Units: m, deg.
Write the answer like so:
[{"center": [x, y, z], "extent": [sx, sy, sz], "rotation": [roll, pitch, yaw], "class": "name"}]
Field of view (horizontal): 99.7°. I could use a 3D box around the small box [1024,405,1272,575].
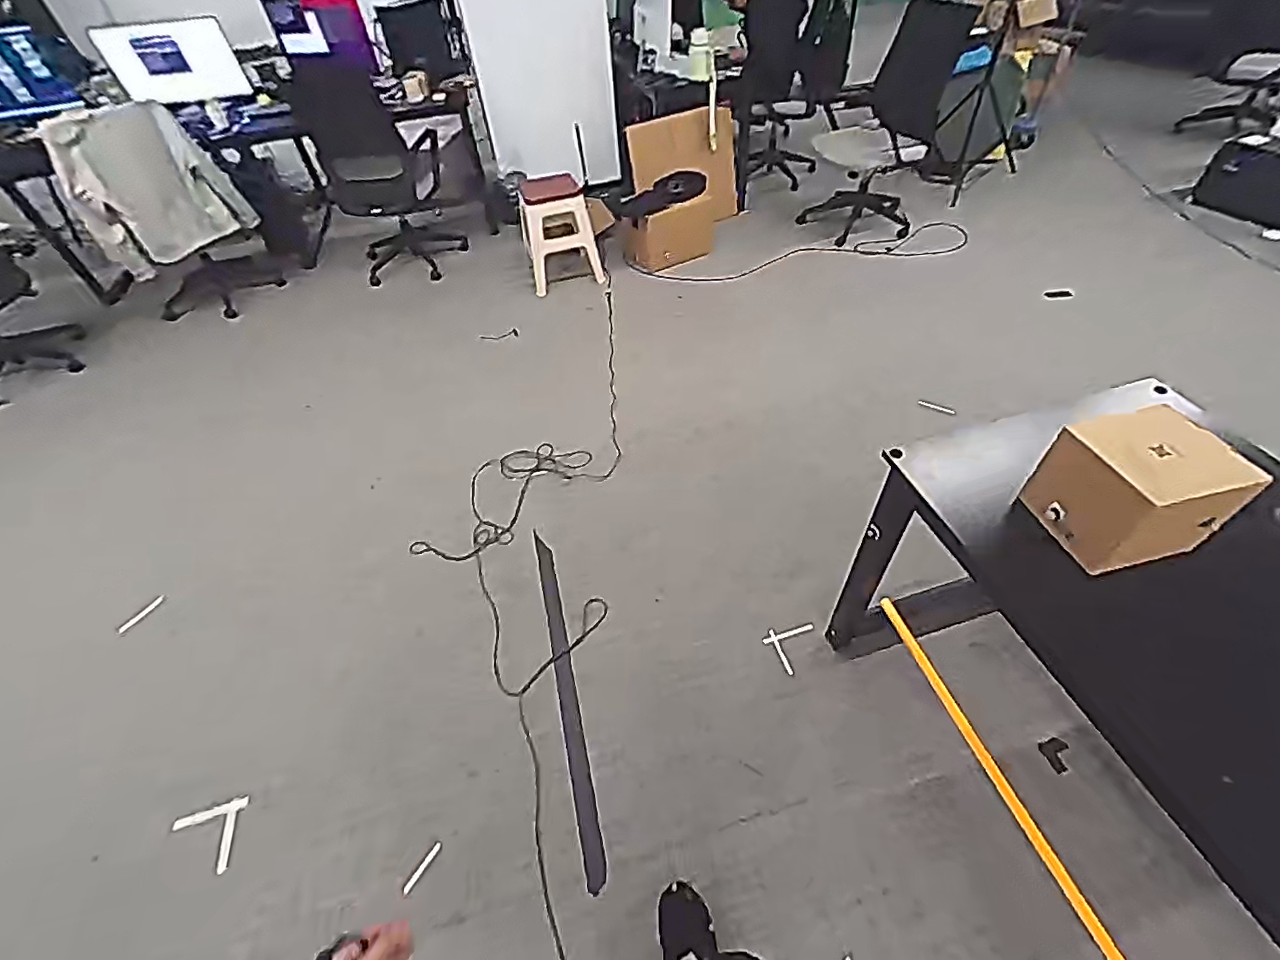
[{"center": [0.735, 0.017, 0.810], "extent": [0.179, 0.176, 0.168], "rotation": [-13, 47, -5], "class": "small box"}]
